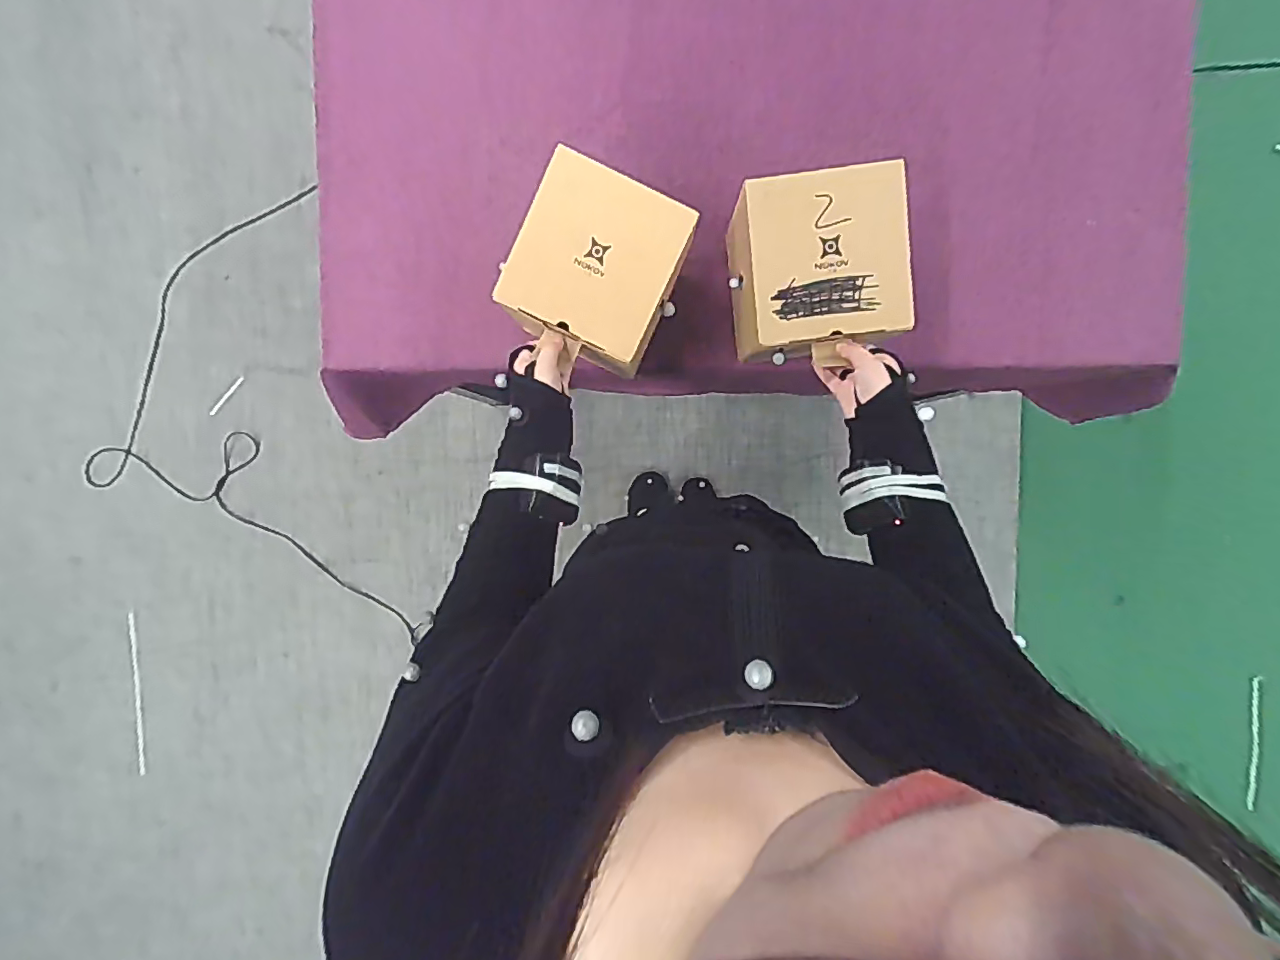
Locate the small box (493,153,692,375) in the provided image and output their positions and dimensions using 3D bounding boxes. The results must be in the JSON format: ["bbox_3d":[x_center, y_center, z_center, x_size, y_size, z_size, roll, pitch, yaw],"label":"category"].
[{"bbox_3d":[-0.054,-0.245,0.665,0.168,0.176,0.179,25,95,-3],"label":"small box"}]
